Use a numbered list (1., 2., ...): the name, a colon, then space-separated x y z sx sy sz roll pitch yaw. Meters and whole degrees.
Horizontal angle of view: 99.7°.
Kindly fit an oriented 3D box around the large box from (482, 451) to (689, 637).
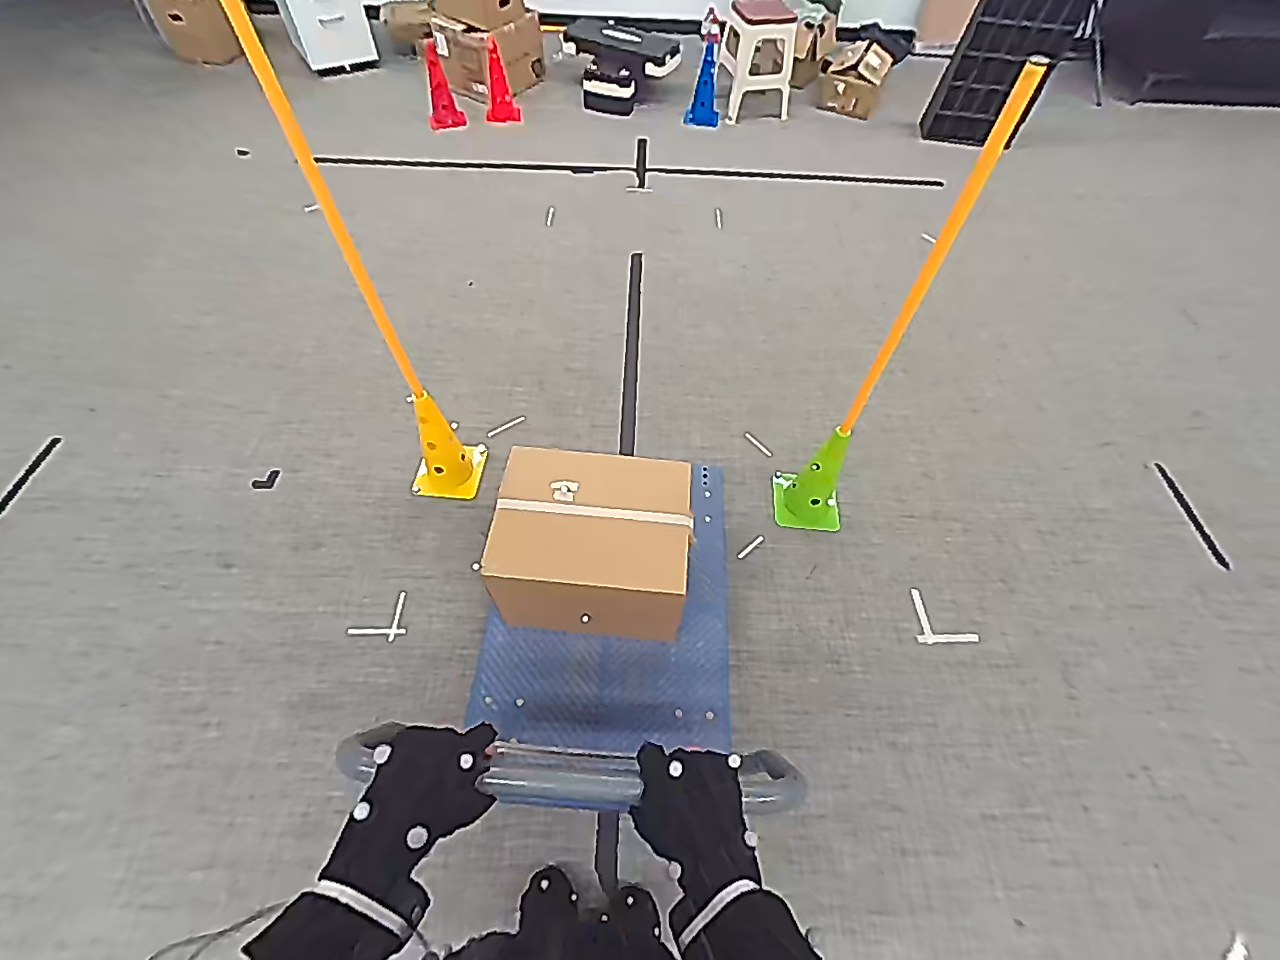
1. large box: -0.100 0.157 1.252 0.408 0.320 0.320 5 56 2

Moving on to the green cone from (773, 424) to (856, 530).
1. green cone: 0.537 -0.031 1.578 0.202 0.368 0.200 6 56 0
